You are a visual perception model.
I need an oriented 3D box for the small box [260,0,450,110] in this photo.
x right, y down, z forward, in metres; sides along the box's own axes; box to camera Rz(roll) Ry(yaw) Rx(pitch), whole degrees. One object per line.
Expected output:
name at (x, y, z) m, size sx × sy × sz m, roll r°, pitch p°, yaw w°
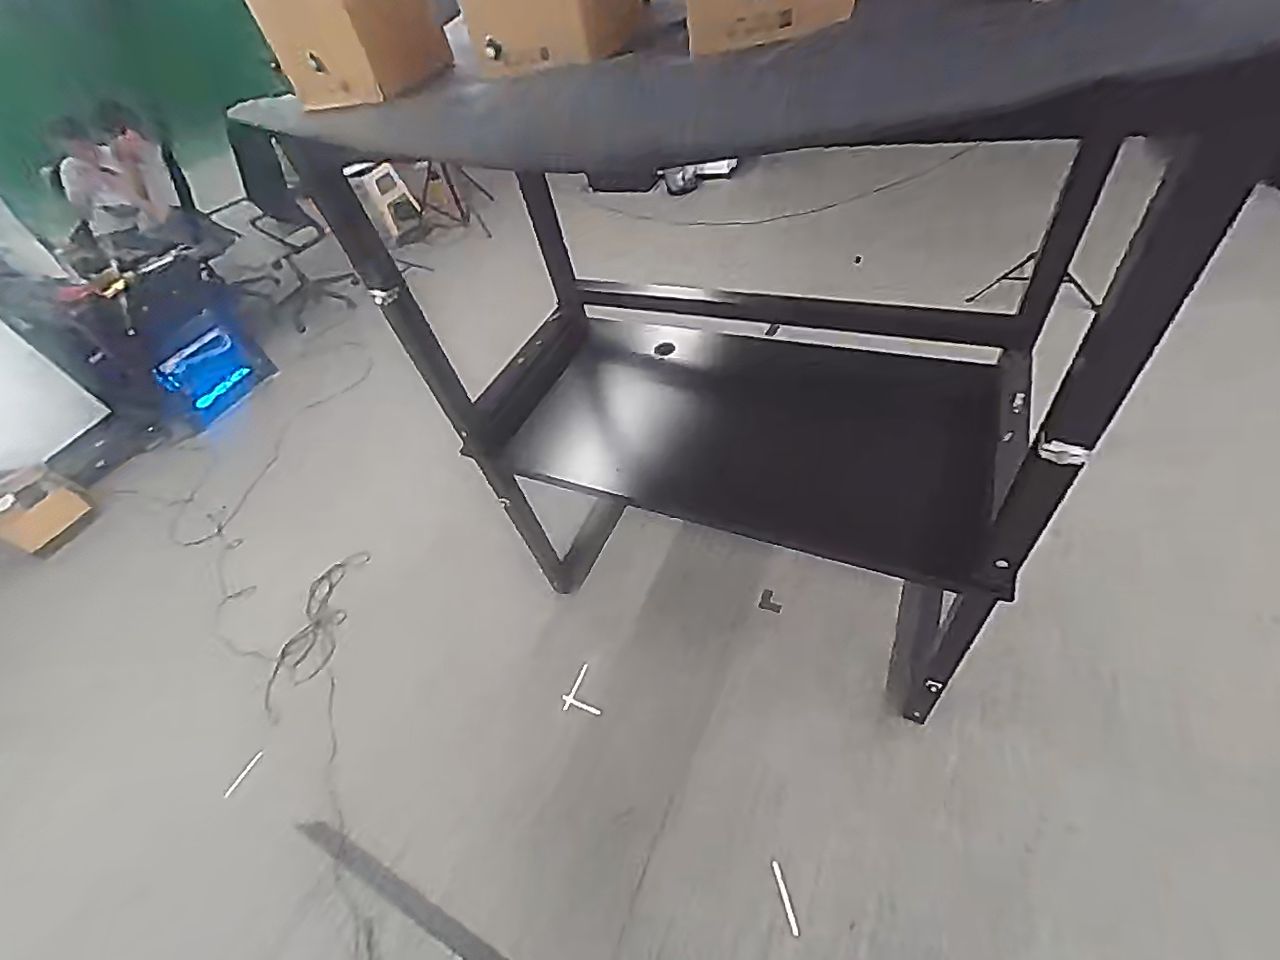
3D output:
small box at (-0.395, -0.646, 0.758) m, size 0.168 × 0.176 × 0.179 m, roll 11°, pitch 54°, yaw 22°

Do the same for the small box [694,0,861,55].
small box at (0.148, -0.574, 0.564) m, size 0.168 × 0.176 × 0.179 m, roll 7°, pitch 52°, yaw 19°
